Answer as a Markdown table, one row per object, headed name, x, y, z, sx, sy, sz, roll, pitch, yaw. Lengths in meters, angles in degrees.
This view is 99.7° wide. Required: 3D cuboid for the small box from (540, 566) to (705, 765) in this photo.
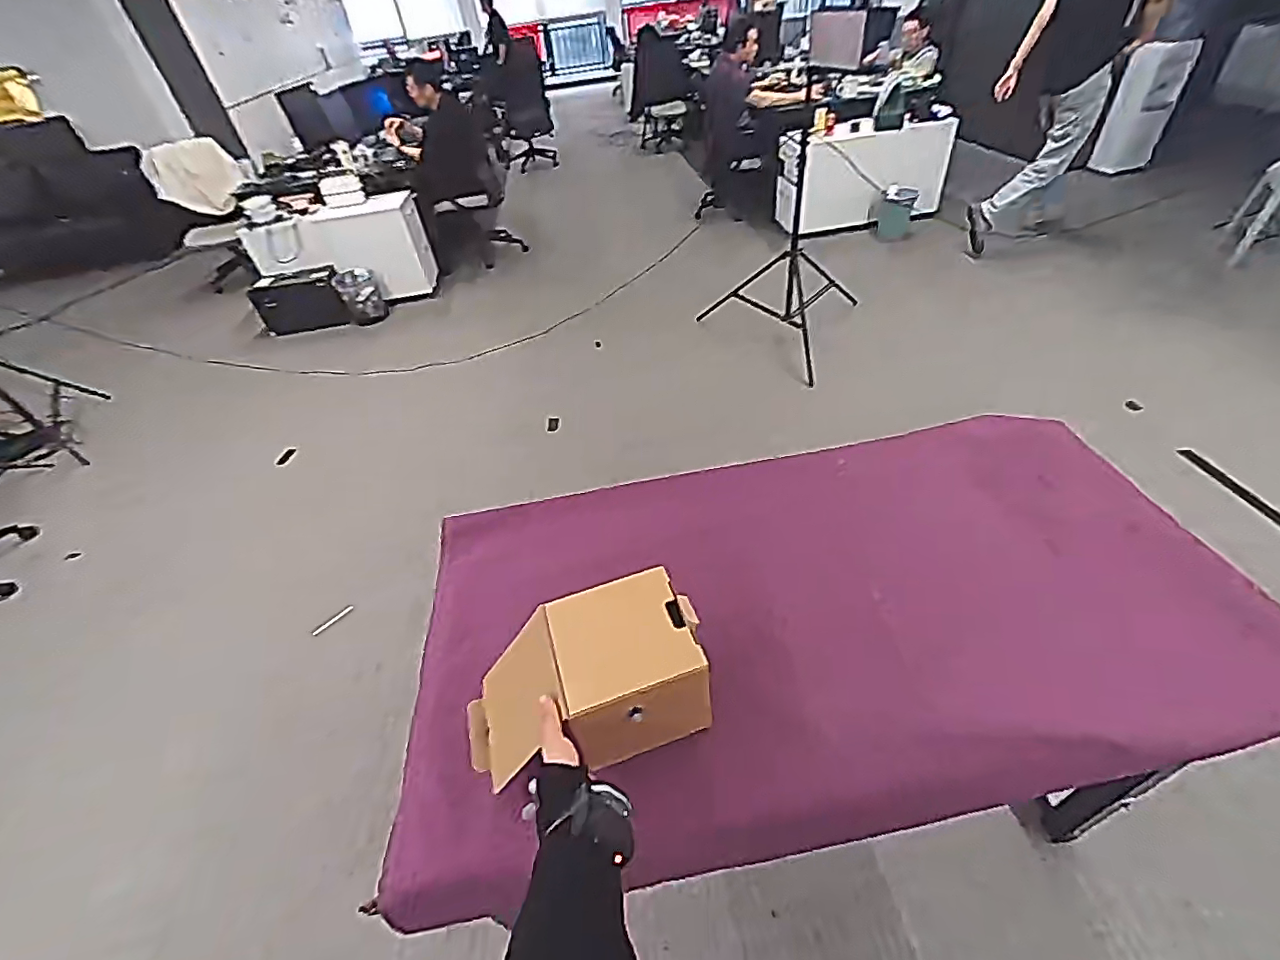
| name | x | y | z | sx | sy | sz | roll | pitch | yaw |
| --- | --- | --- | --- | --- | --- | --- | --- | --- | --- |
| small box | -0.021 | 0.250 | 0.727 | 0.179 | 0.176 | 0.168 | -16 | 43 | -9 |
